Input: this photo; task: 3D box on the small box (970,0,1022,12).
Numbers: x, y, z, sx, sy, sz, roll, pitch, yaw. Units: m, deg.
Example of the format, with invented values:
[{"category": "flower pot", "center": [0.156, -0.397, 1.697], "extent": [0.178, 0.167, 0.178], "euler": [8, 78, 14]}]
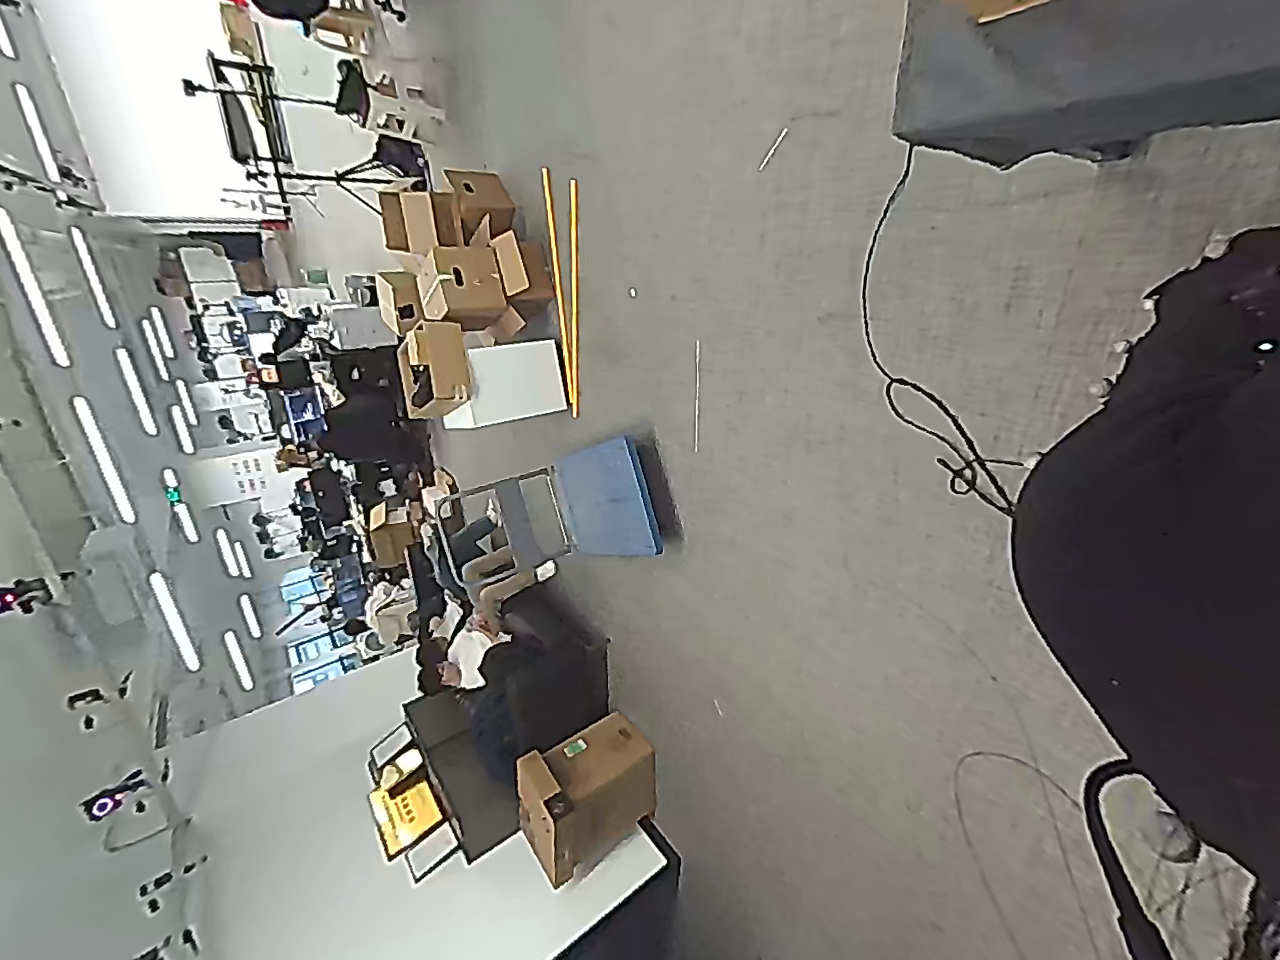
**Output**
[{"category": "small box", "center": [0.378, -0.584, 0.498], "extent": [0.168, 0.176, 0.179], "euler": [23, 123, 48]}]
